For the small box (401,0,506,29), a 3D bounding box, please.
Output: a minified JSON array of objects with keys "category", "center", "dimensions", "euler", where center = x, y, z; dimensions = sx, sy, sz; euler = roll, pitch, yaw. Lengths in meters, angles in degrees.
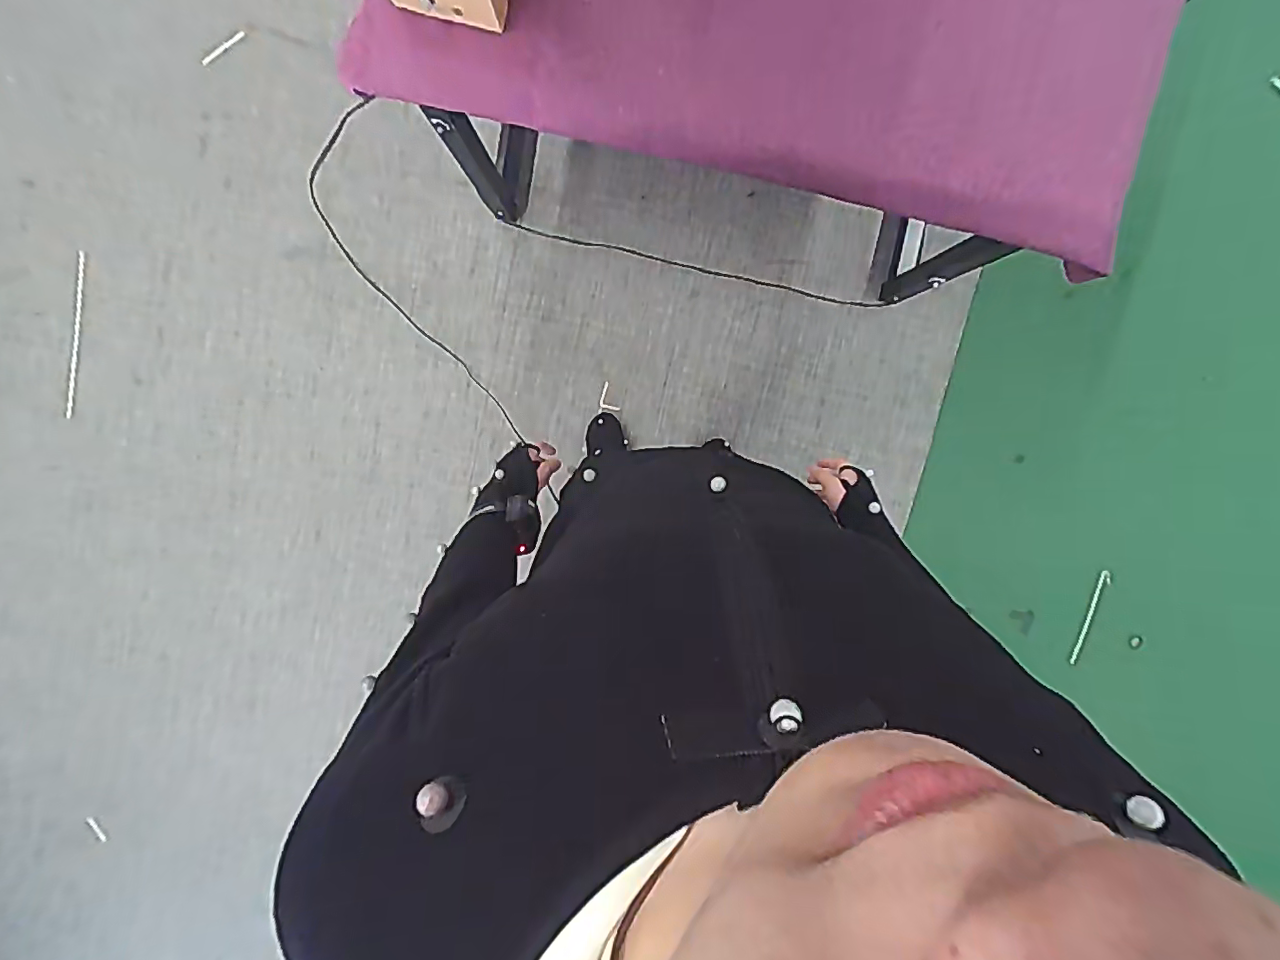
[{"category":"small box","center":[-0.267,-0.767,0.719],"dimensions":[0.168,0.176,0.179],"euler":[12,96,-2]}]
